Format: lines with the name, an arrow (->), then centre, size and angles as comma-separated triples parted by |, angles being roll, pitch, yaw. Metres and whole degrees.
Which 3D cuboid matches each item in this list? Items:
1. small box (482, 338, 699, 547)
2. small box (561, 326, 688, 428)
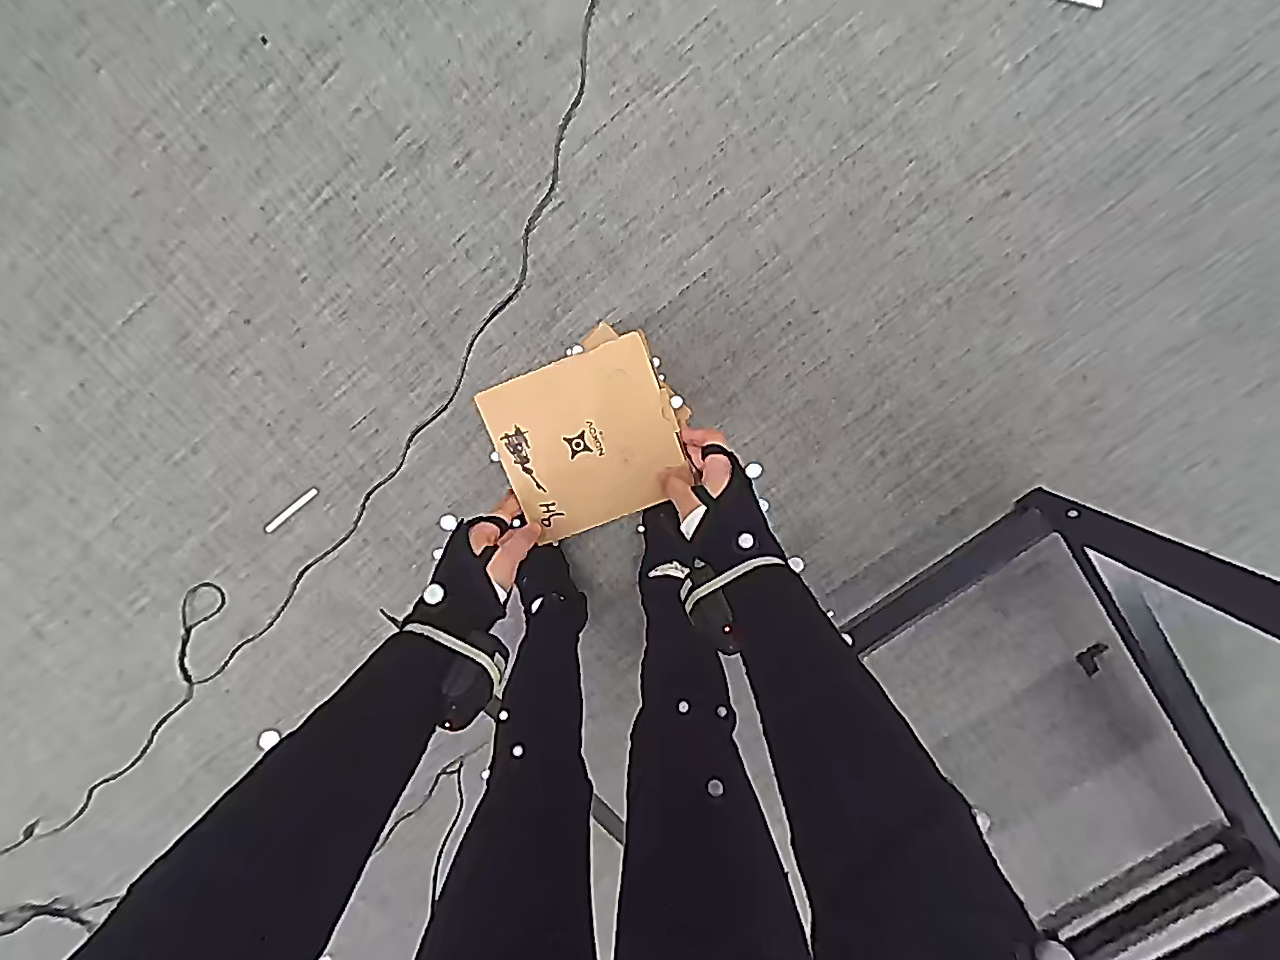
small box -> -0.048, -0.050, 0.614 | 0.179, 0.176, 0.168 | -21, 100, 5
small box -> -0.053, -0.101, 0.785 | 0.179, 0.176, 0.168 | -44, 103, 8
